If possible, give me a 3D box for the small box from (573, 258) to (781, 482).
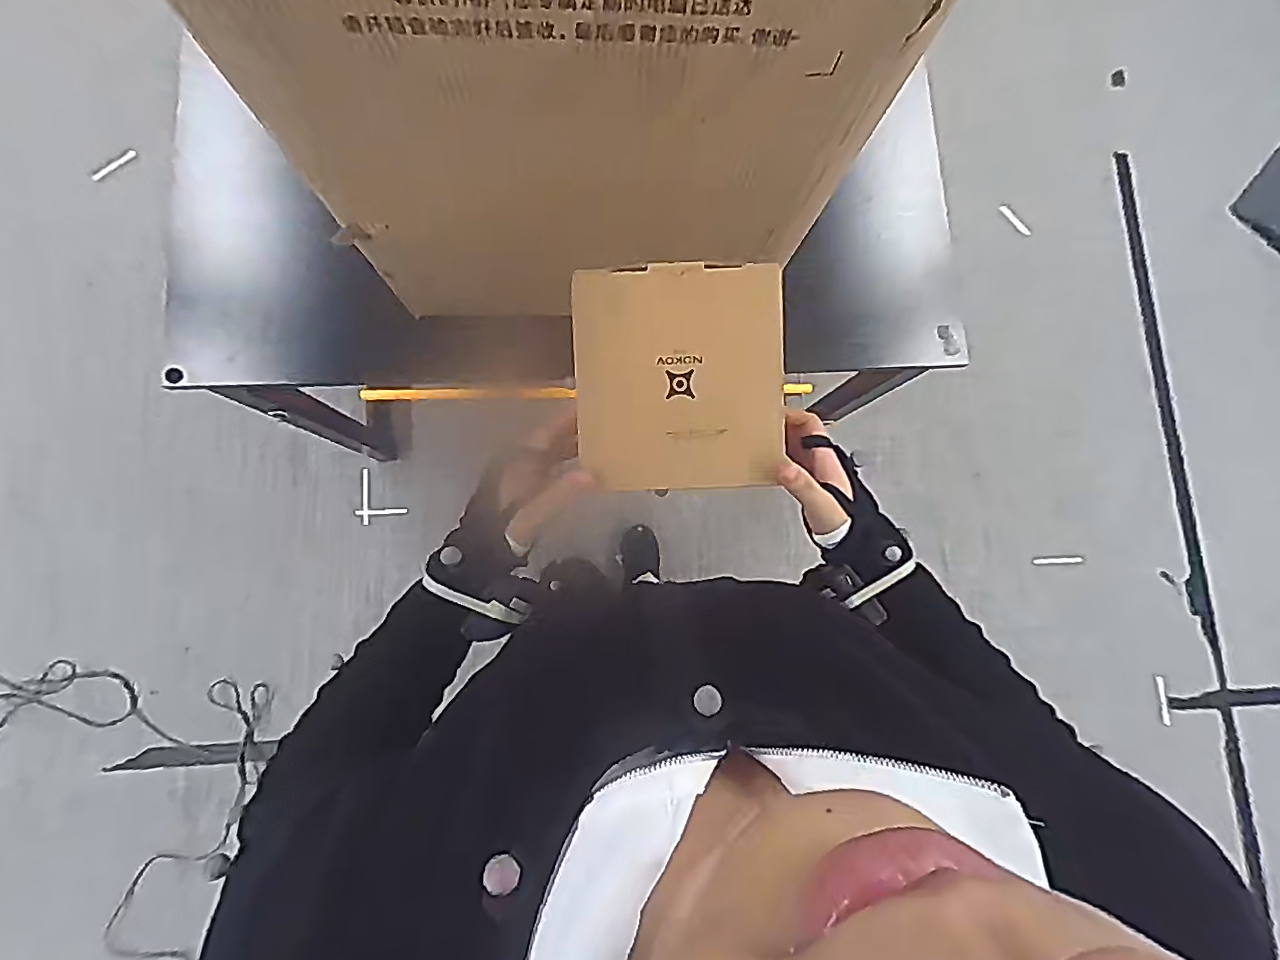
[{"bbox_3d":[0.028,-0.090,0.508,0.168,0.176,0.179,-2,94,0],"label":"small box"}]
